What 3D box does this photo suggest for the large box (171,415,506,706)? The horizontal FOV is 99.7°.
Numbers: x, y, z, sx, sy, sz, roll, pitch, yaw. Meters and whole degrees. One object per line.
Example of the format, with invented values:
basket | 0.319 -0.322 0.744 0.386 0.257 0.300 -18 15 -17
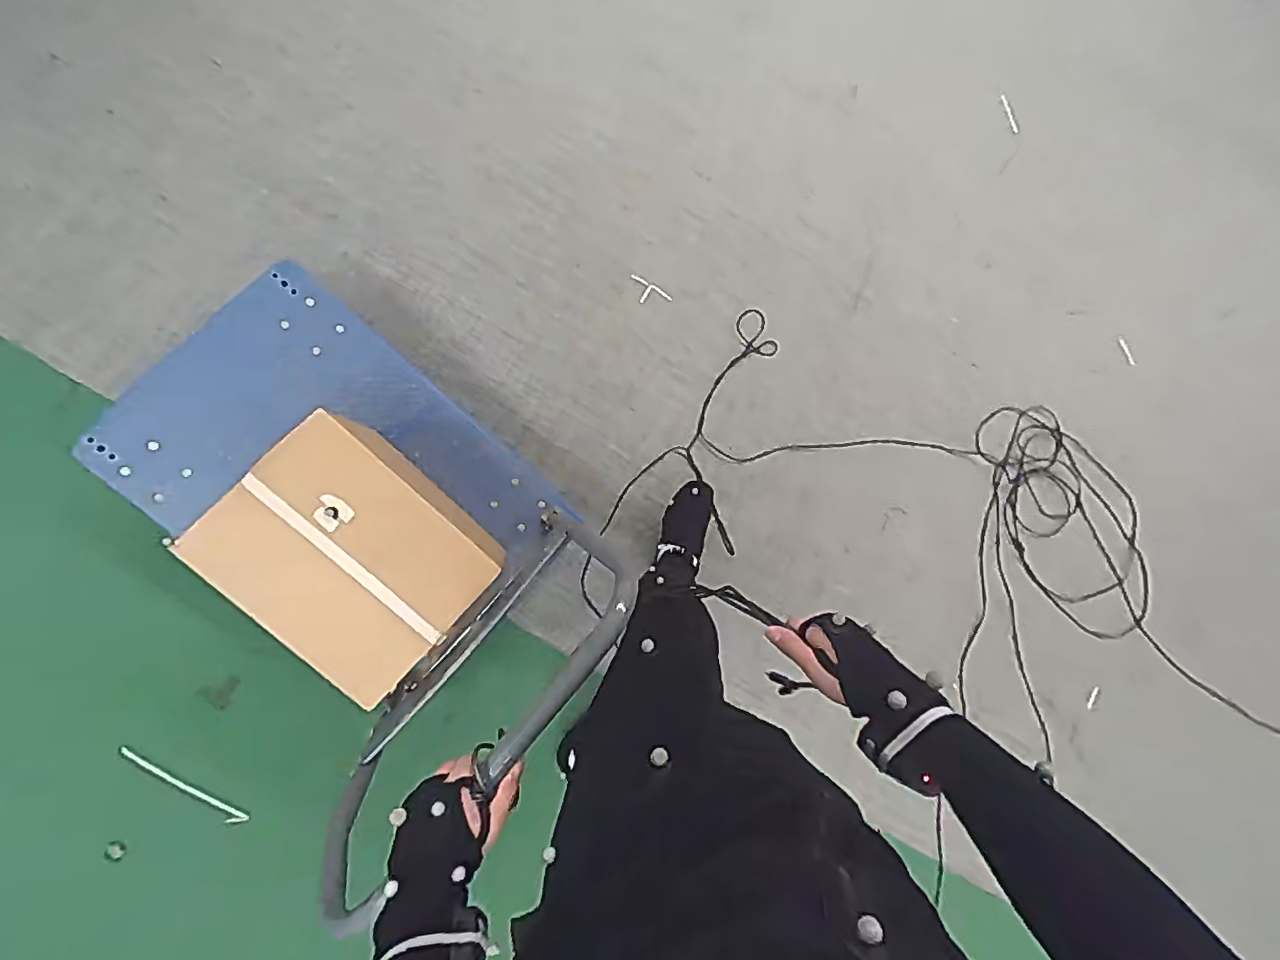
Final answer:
large box | -0.514 0.138 1.031 0.408 0.320 0.320 43 80 -7
